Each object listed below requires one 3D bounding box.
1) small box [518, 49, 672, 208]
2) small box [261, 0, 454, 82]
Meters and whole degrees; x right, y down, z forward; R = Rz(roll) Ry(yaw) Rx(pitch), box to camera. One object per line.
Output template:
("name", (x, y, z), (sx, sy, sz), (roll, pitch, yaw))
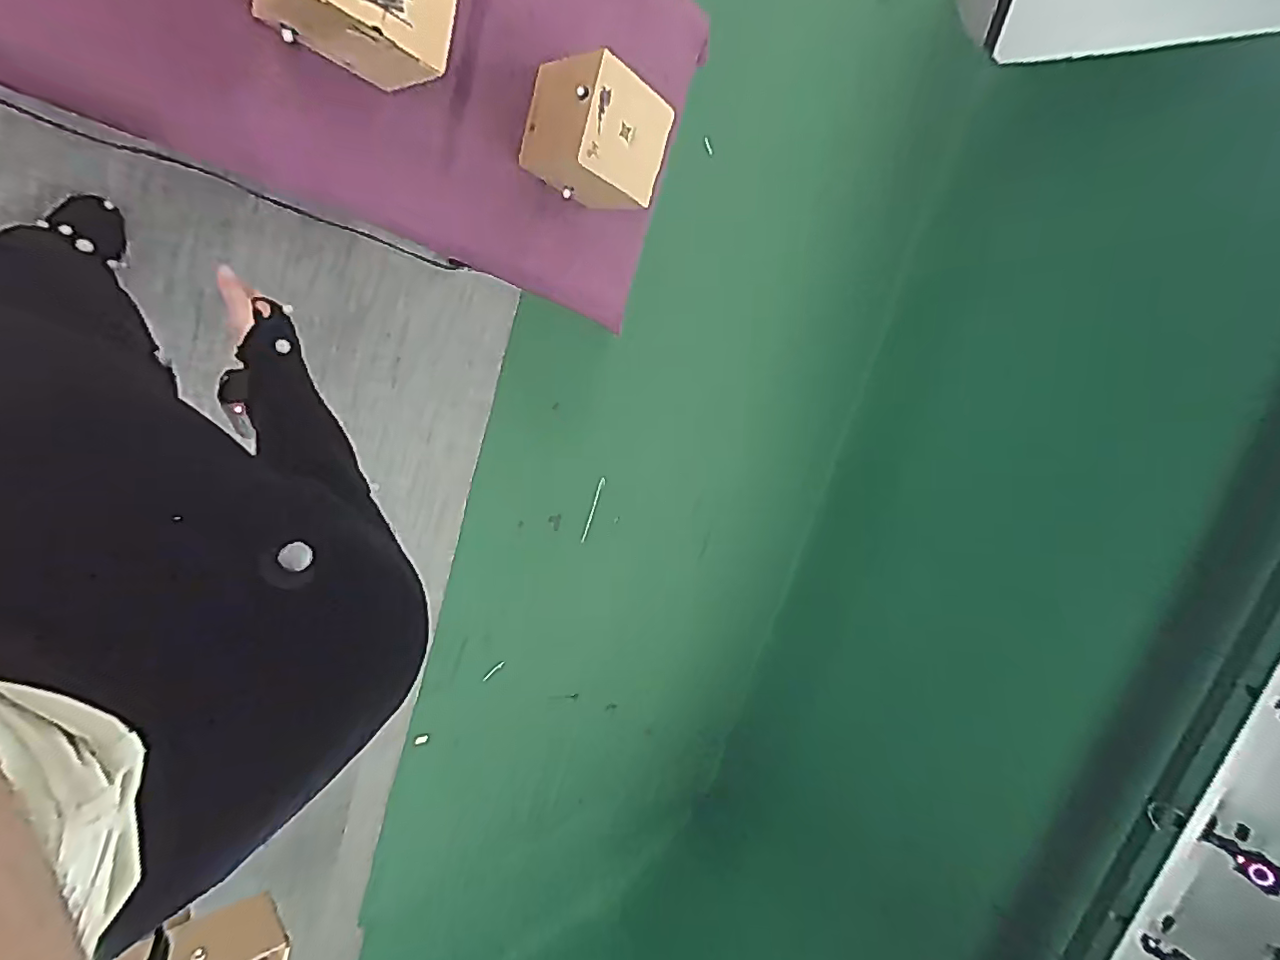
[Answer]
("small box", (-0.079, -0.594, 0.934), (0.179, 0.176, 0.168), (5, 106, -50))
("small box", (-0.333, -0.611, 0.637), (0.168, 0.176, 0.179), (2, 107, -49))
